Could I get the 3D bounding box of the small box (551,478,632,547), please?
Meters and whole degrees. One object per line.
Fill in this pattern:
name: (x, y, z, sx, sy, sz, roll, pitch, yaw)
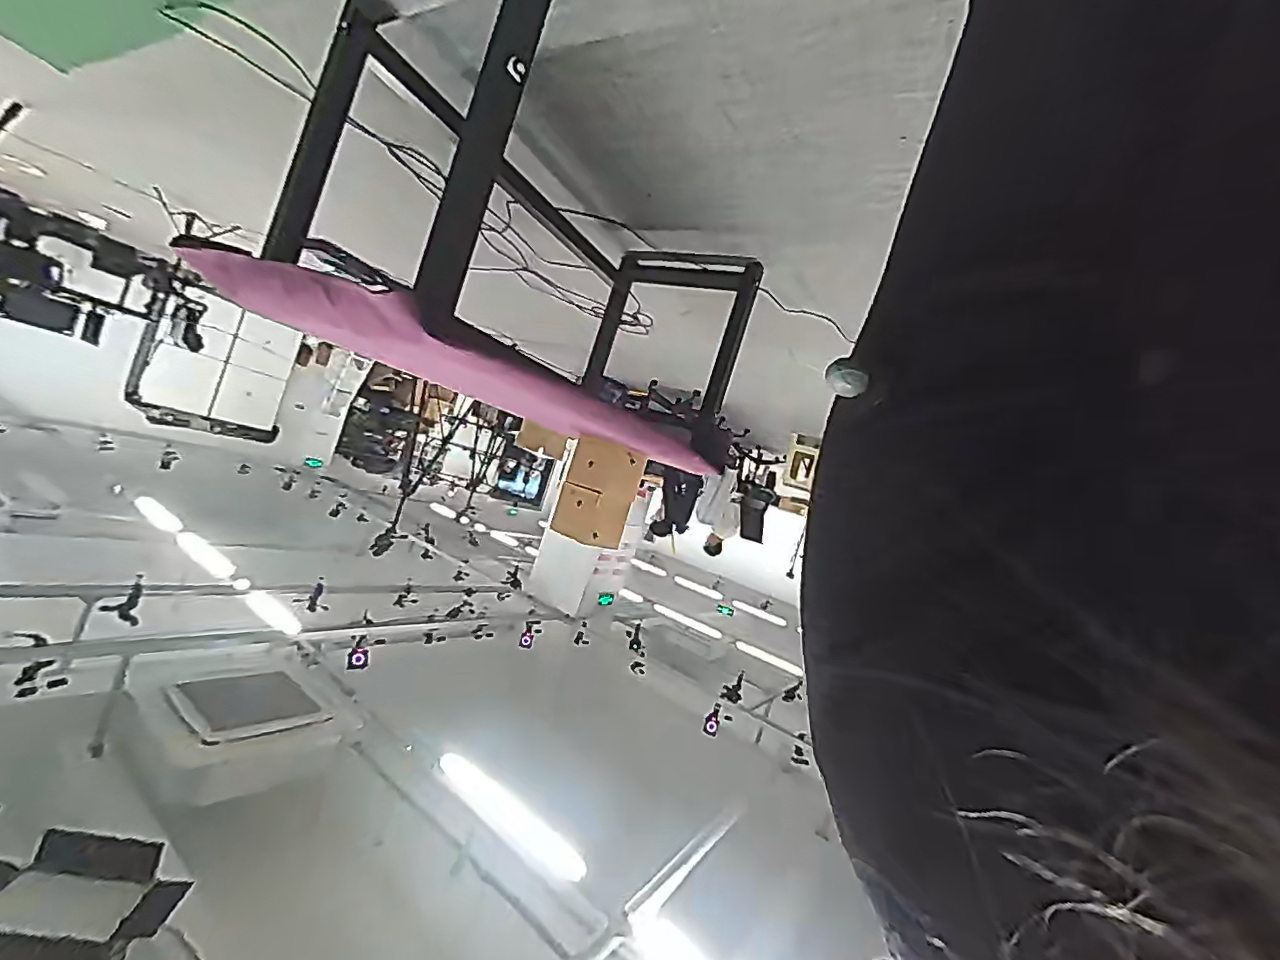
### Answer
small box: (-0.153, 0.106, 1.761, 0.168, 0.176, 0.179, 17, 178, 39)
